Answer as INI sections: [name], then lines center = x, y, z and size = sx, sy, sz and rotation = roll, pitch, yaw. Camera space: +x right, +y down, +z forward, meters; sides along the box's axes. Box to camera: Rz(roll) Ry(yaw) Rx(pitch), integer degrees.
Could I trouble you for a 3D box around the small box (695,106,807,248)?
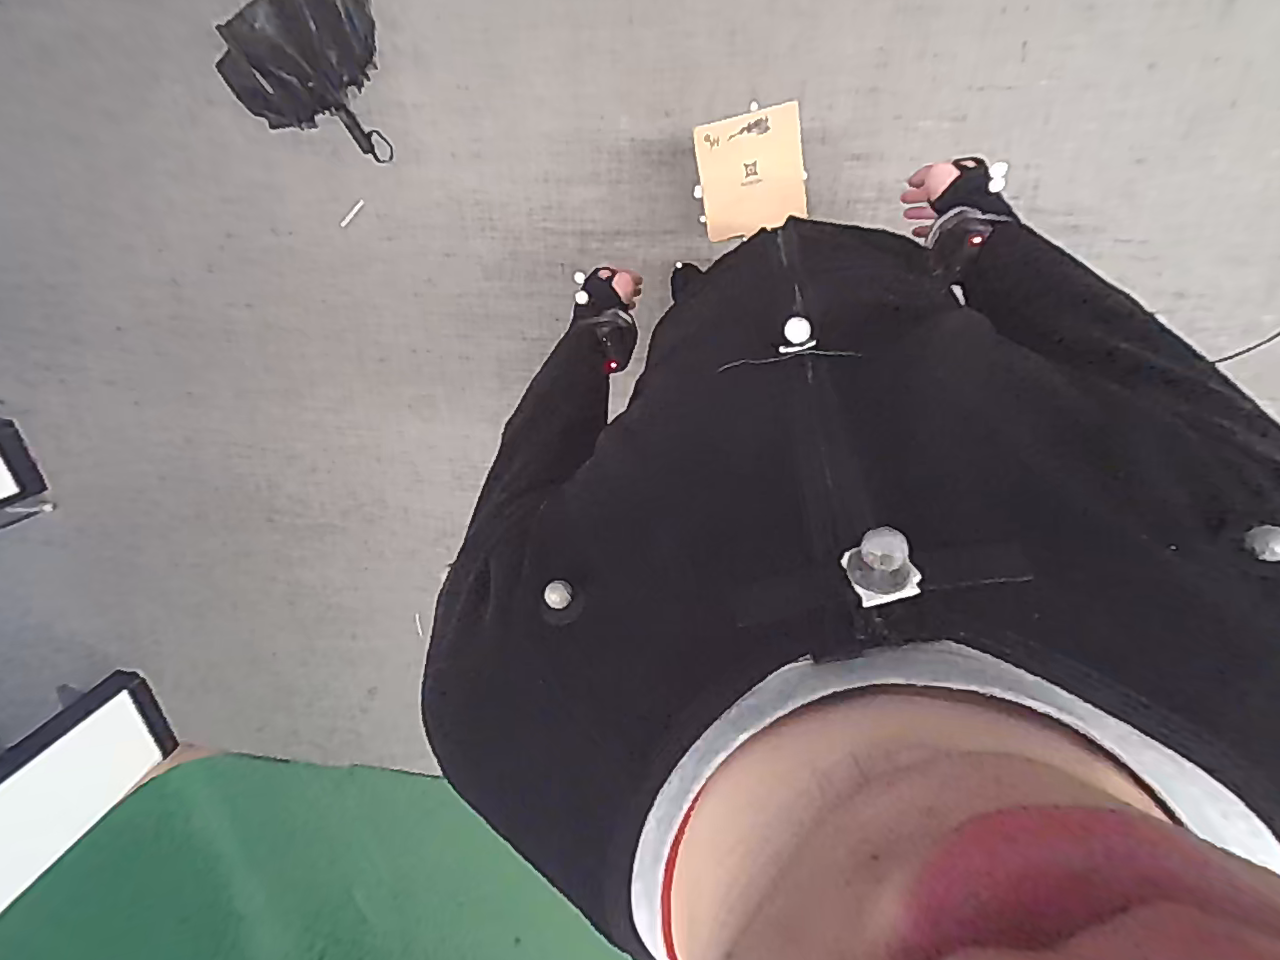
[small box]
center = 0.195, -0.522, 0.946
size = 0.168, 0.176, 0.179
rotation = -7, 115, 13
